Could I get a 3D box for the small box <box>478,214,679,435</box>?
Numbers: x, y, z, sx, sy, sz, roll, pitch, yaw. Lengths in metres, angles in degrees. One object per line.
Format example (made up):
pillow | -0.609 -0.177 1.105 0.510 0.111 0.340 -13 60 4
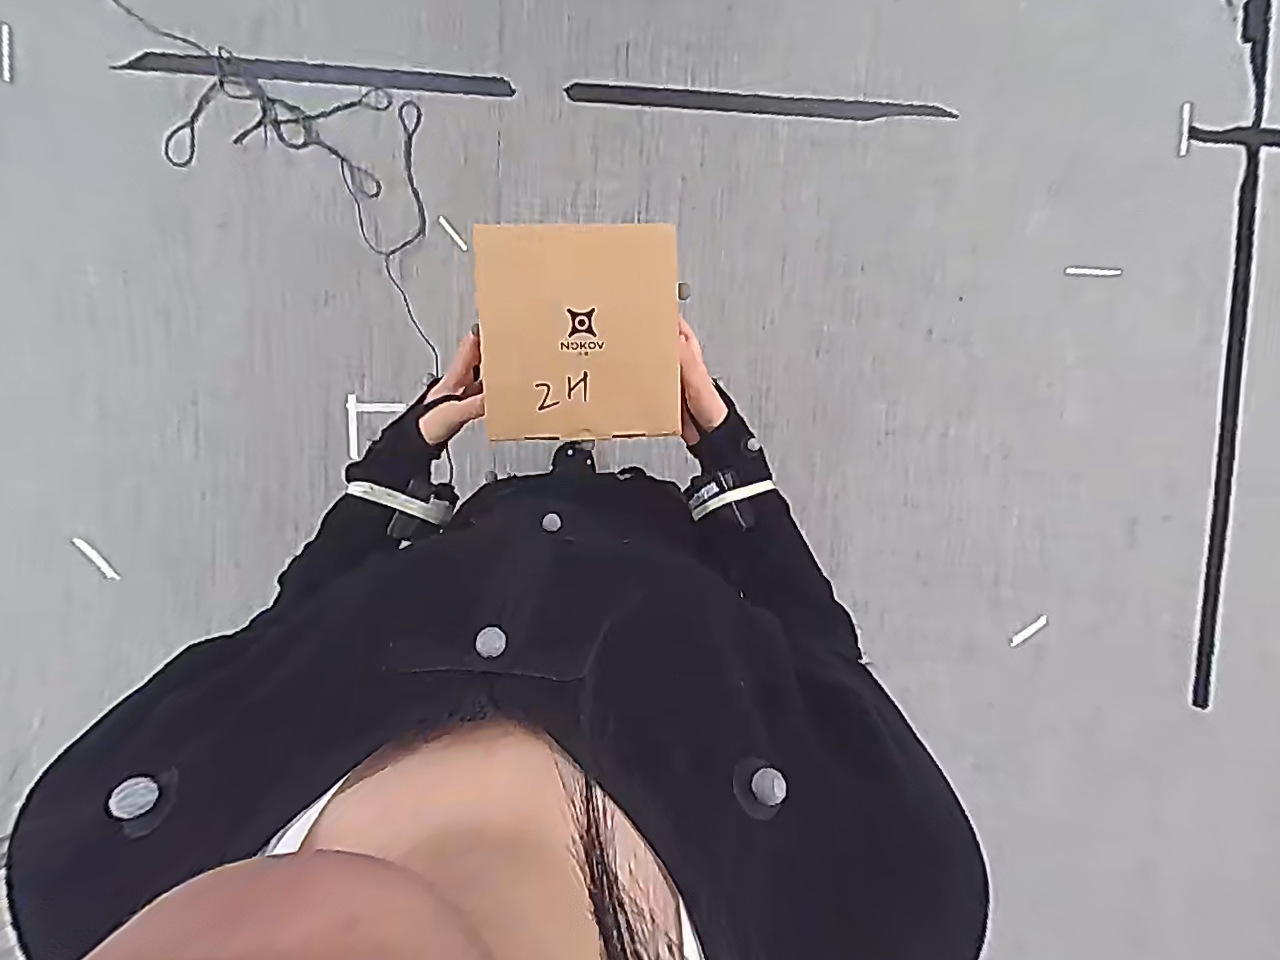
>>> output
small box | -0.055 -0.133 0.523 0.168 0.176 0.179 -1 95 -4
